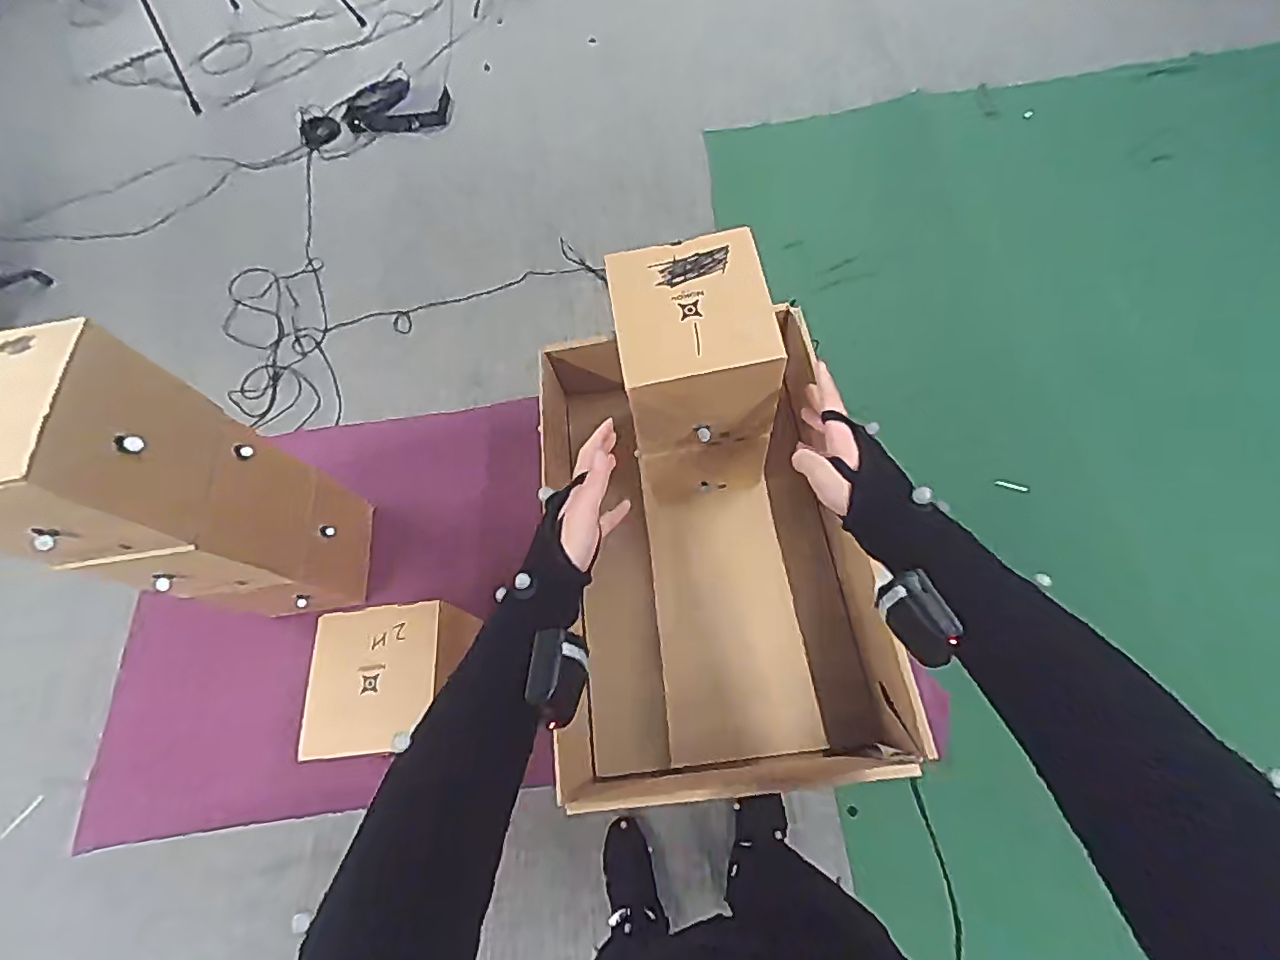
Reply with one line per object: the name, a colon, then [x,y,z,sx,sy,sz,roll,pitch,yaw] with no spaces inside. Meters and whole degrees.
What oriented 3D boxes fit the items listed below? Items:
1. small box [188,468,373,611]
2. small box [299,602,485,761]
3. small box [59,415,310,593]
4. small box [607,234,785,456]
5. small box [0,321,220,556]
small box: [-0.544,0.102,0.847,0.168,0.176,0.179,-8,66,2]
small box: [-0.322,0.276,0.740,0.168,0.176,0.179,-7,65,3]
small box: [-0.562,0.042,0.698,0.168,0.176,0.179,-8,65,2]
small box: [0.062,-0.151,0.643,0.168,0.176,0.179,-10,67,4]
small box: [-0.578,-0.029,0.551,0.168,0.176,0.179,-9,66,2]
